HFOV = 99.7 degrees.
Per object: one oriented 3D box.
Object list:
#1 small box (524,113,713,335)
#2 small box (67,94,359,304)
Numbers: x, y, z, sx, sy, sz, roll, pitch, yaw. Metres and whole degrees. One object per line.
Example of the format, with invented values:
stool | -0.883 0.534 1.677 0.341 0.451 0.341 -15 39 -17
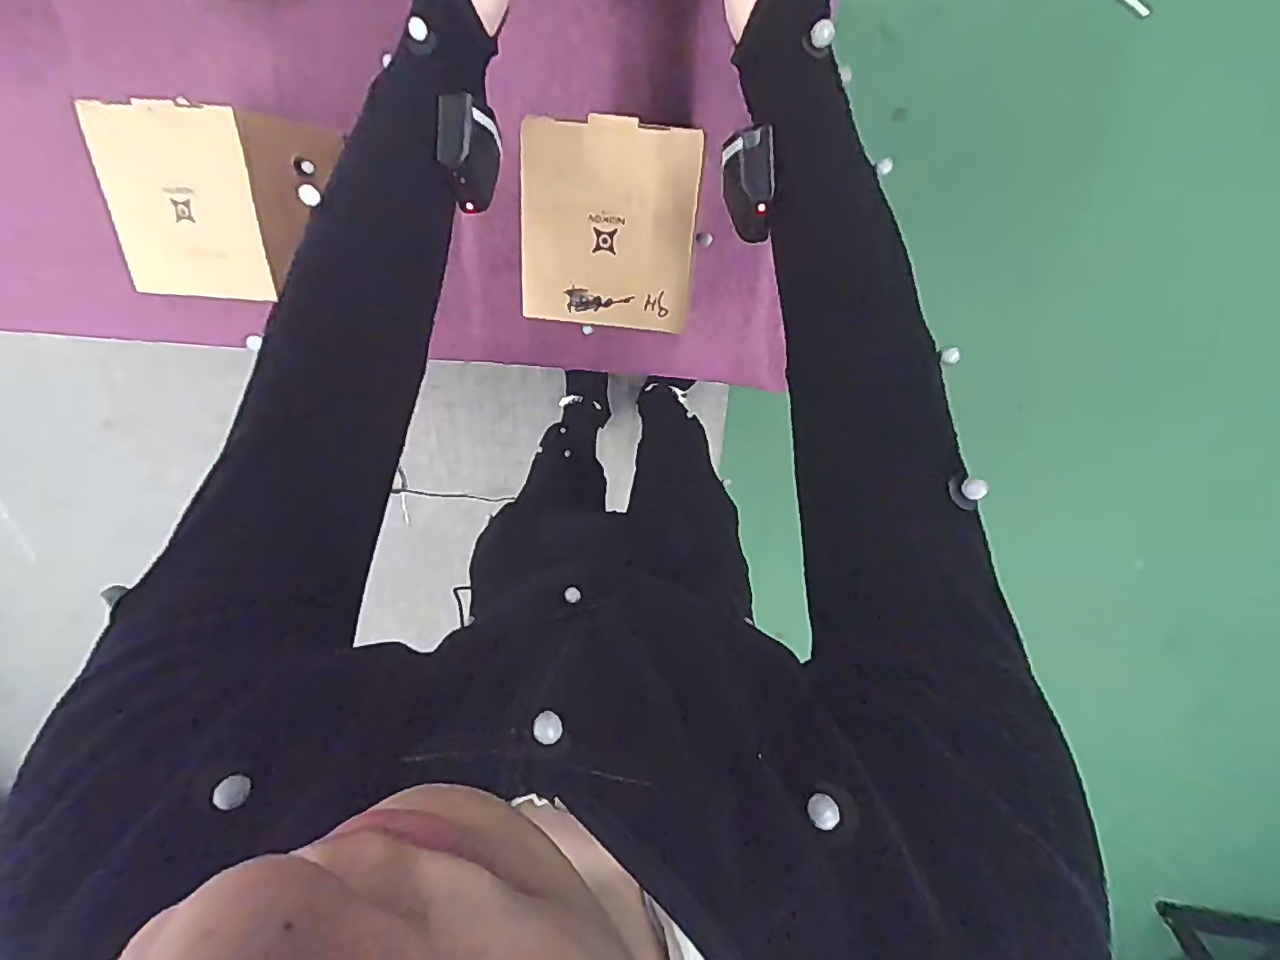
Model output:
small box | -0.019 -0.262 0.575 0.168 0.176 0.179 7 114 4
small box | -0.446 -0.302 0.601 0.168 0.176 0.179 6 116 4
